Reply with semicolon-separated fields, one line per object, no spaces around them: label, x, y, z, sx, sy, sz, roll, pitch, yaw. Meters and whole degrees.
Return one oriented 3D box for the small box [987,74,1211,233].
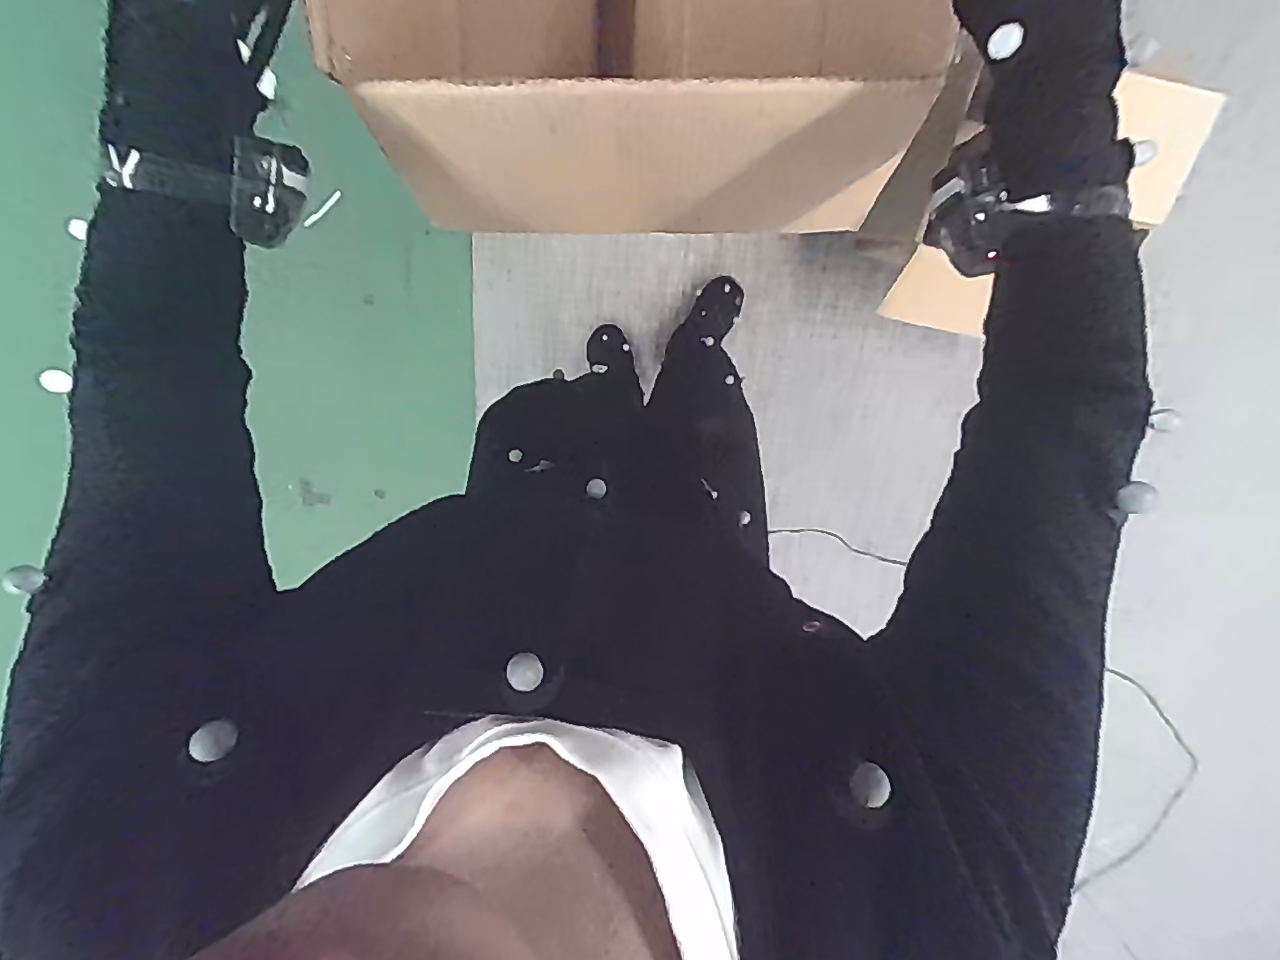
small box;0.691;-0.493;0.844;0.179;0.176;0.168;11;110;-2
